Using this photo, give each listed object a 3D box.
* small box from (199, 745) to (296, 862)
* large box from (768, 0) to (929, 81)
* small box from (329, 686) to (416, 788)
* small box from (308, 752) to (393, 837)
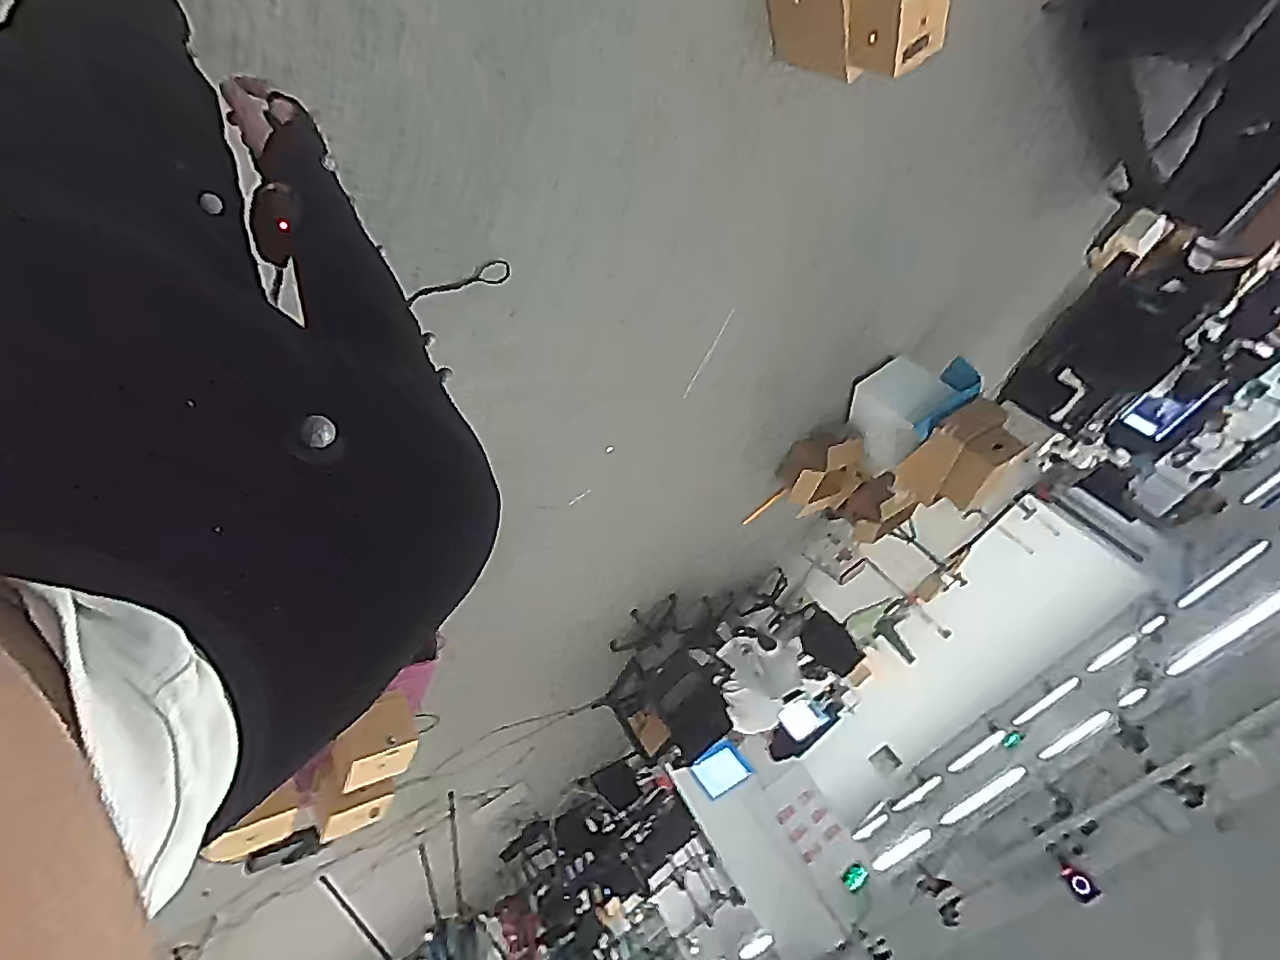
[{"bbox_3d":[-1.003,0.814,1.376,0.179,0.176,0.168,0,132,-45],"label":"small box"},{"bbox_3d":[0.551,-1.409,1.460,0.320,0.320,0.408,-41,147,1],"label":"large box"},{"bbox_3d":[-0.746,0.705,1.499,0.168,0.176,0.179,-3,135,-43],"label":"small box"},{"bbox_3d":[-0.879,0.925,1.636,0.179,0.176,0.168,0,130,-44],"label":"small box"}]
